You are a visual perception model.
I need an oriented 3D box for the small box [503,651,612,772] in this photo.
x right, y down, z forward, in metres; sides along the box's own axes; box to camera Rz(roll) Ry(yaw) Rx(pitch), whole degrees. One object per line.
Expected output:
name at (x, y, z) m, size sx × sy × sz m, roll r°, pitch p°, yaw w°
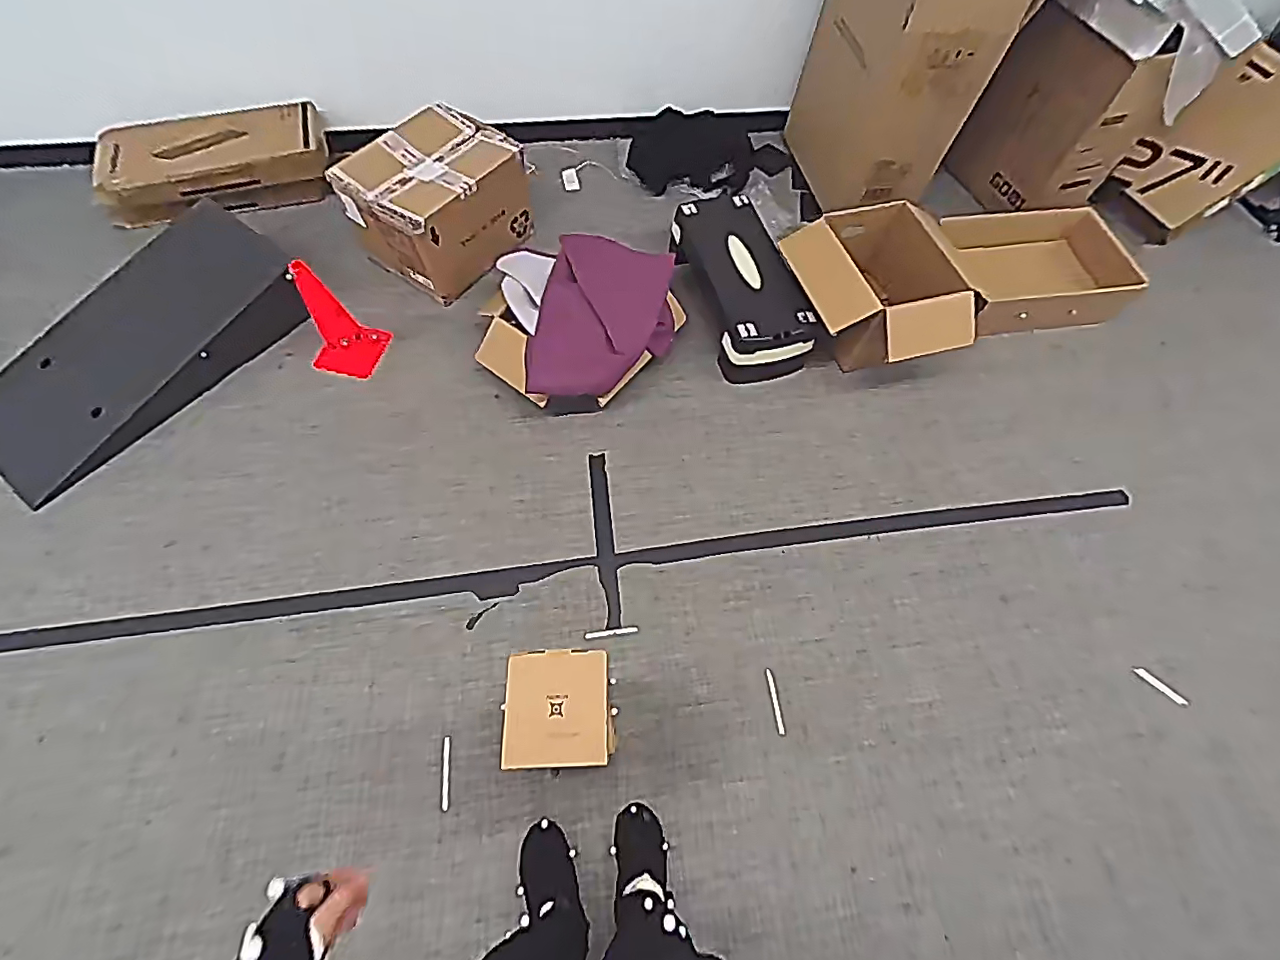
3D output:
small box at (-0.133, 0.401, 0.935) m, size 0.168 × 0.176 × 0.179 m, roll -2°, pitch 64°, yaw -2°
